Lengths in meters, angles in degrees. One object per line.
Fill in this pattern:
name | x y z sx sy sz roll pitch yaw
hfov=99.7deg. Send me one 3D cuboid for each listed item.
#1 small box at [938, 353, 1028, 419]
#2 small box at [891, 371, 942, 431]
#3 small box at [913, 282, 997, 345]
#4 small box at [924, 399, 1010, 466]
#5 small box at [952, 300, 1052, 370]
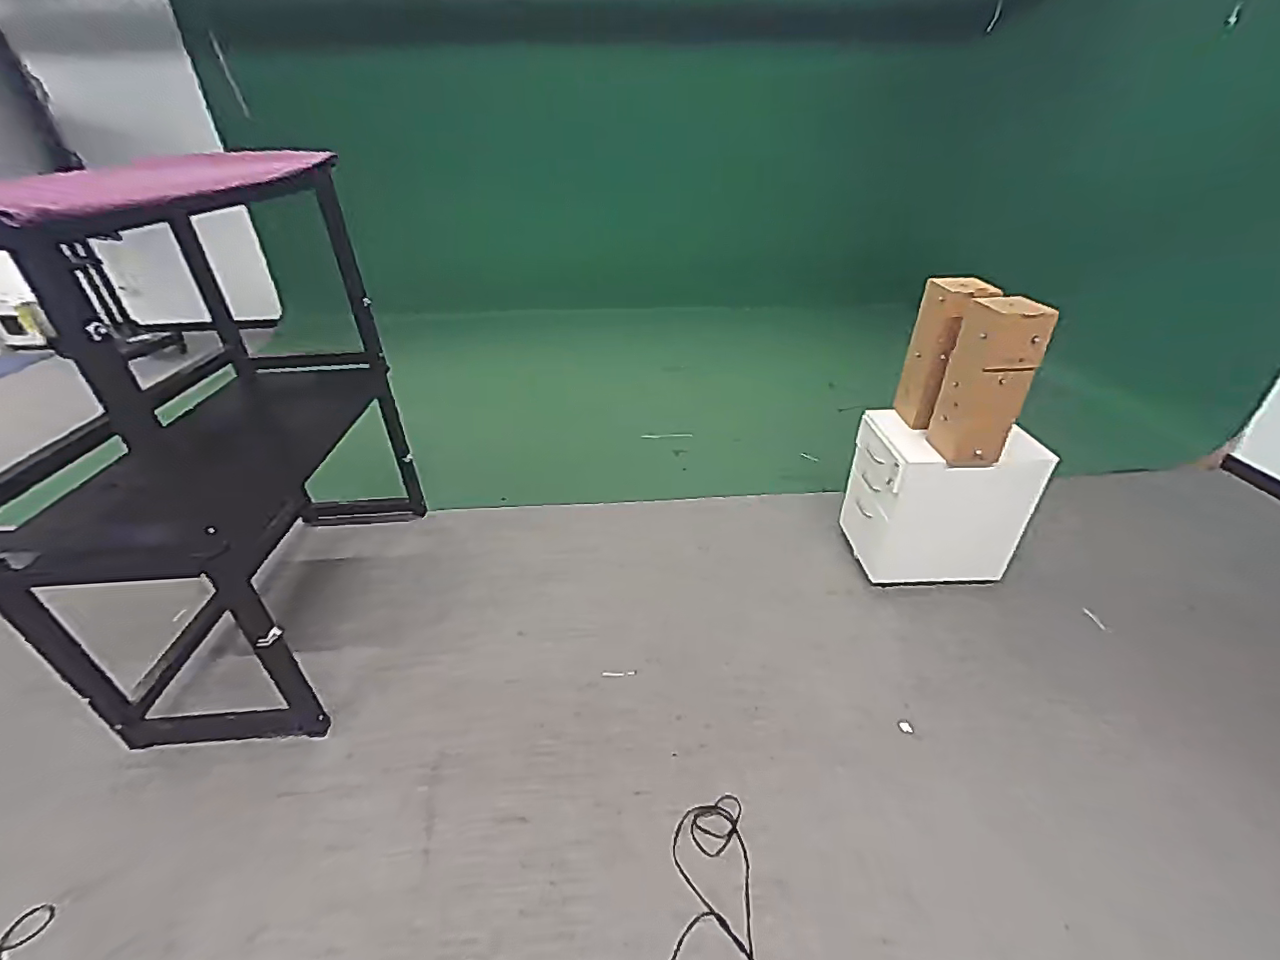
small box | 1.088 -0.305 1.735 0.179 0.176 0.168 -3 33 -3
small box | 1.068 -0.297 2.025 0.168 0.176 0.179 -2 34 0
small box | 1.064 -0.569 1.844 0.168 0.176 0.179 -1 35 -1
small box | 1.088 -0.162 1.819 0.168 0.176 0.179 -2 33 0
small box | 1.087 -0.437 1.640 0.168 0.176 0.179 -2 32 -1
